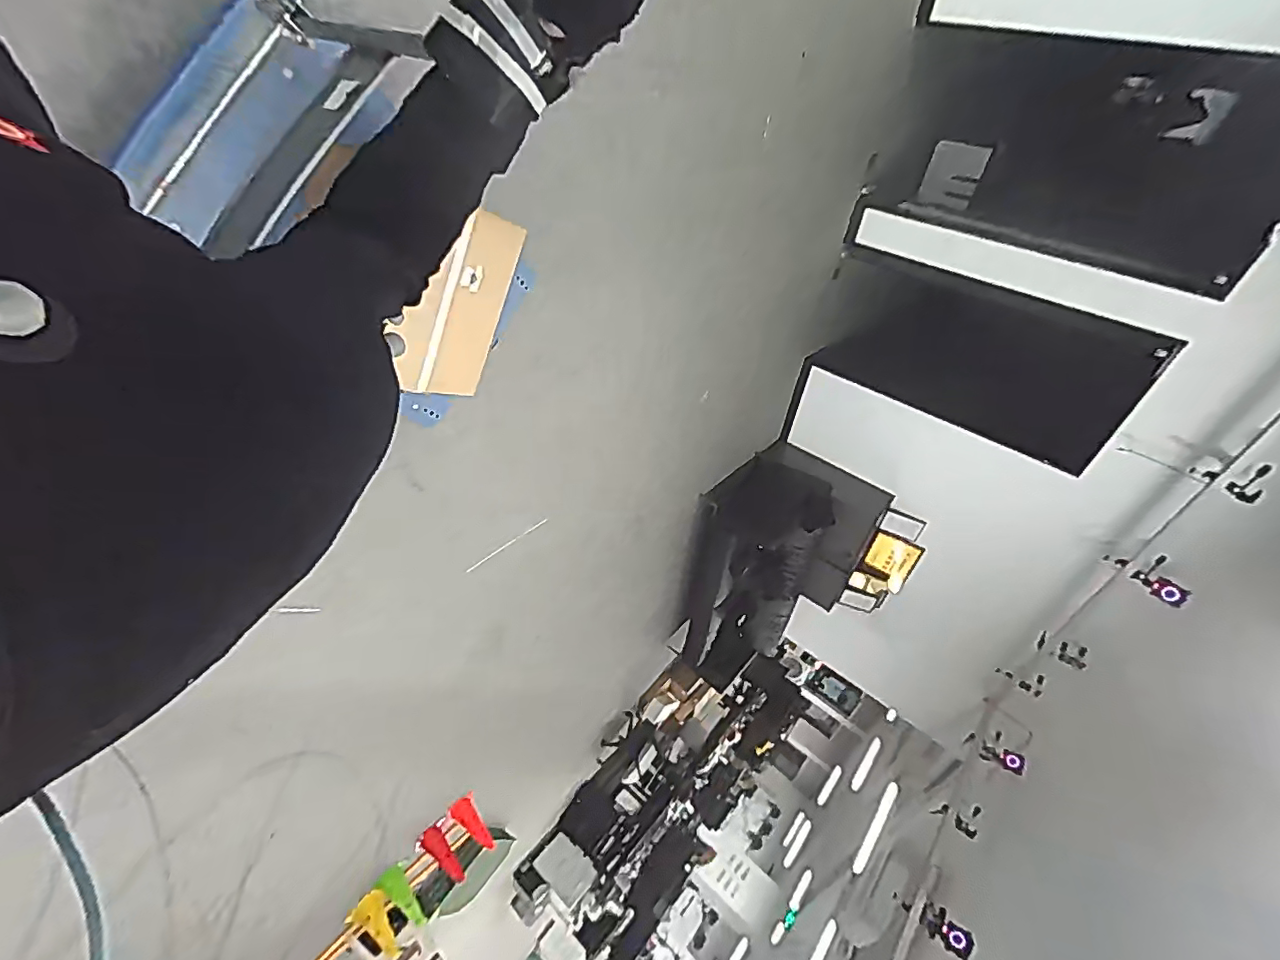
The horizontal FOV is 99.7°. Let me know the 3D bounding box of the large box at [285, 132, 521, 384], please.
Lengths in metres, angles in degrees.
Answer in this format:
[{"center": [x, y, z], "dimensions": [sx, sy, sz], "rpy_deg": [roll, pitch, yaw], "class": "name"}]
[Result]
[{"center": [-0.529, -0.466, 1.198], "dimensions": [0.320, 0.320, 0.408], "rpy_deg": [-5, 123, -57], "class": "large box"}]
